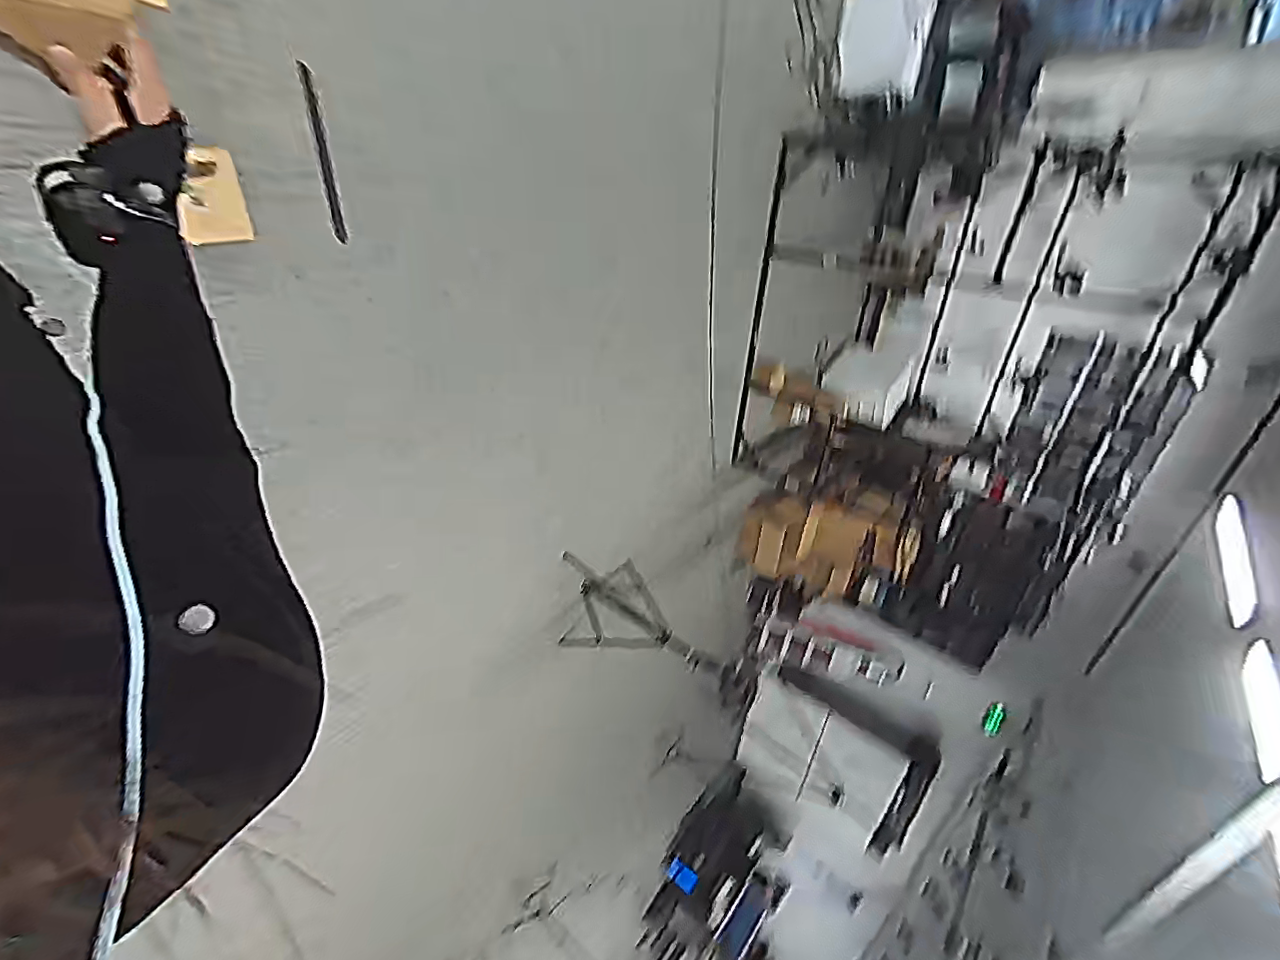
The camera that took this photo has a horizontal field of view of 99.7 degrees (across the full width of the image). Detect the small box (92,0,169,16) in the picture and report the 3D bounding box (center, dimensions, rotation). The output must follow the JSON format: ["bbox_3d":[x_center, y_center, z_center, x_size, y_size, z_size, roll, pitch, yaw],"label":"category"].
[{"bbox_3d":[-0.955,-0.944,0.935,0.168,0.176,0.179,-20,126,-48],"label":"small box"}]

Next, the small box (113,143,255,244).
[{"bbox_3d":[-0.964,-0.608,1.146,0.168,0.176,0.179,-29,135,-42],"label":"small box"}]
